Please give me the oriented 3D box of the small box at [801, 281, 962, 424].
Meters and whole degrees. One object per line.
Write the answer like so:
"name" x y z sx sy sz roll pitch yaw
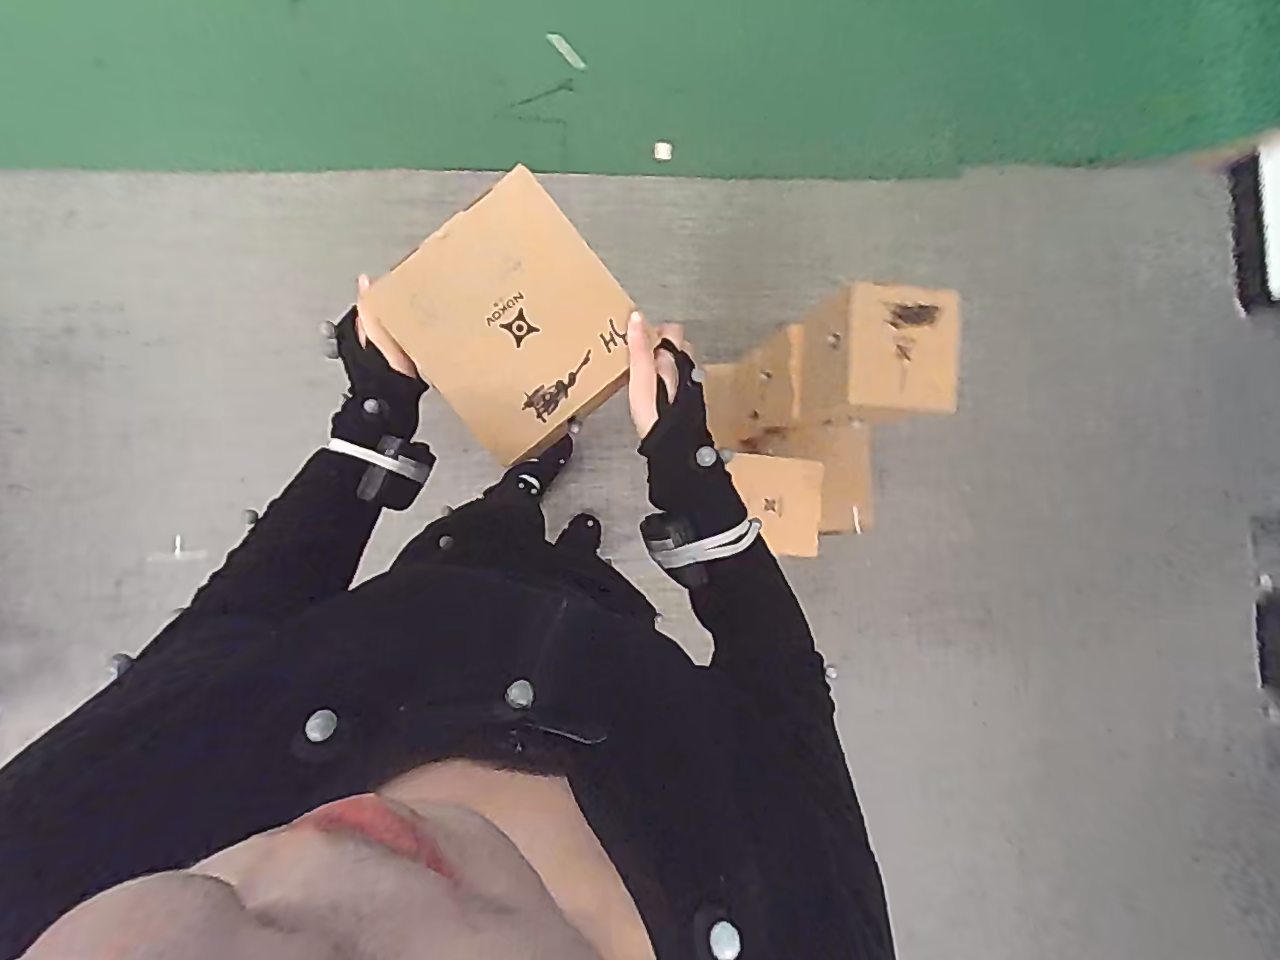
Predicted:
"small box" 0.366 -0.187 0.845 0.168 0.176 0.179 4 90 -7

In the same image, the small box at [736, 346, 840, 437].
"small box" 0.314 -0.185 1.169 0.168 0.176 0.179 -3 91 -9

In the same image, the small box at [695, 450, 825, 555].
"small box" 0.212 0.037 0.991 0.179 0.176 0.168 6 90 -7

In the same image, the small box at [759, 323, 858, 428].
"small box" 0.335 -0.188 1.007 0.179 0.176 0.168 -1 91 -7
